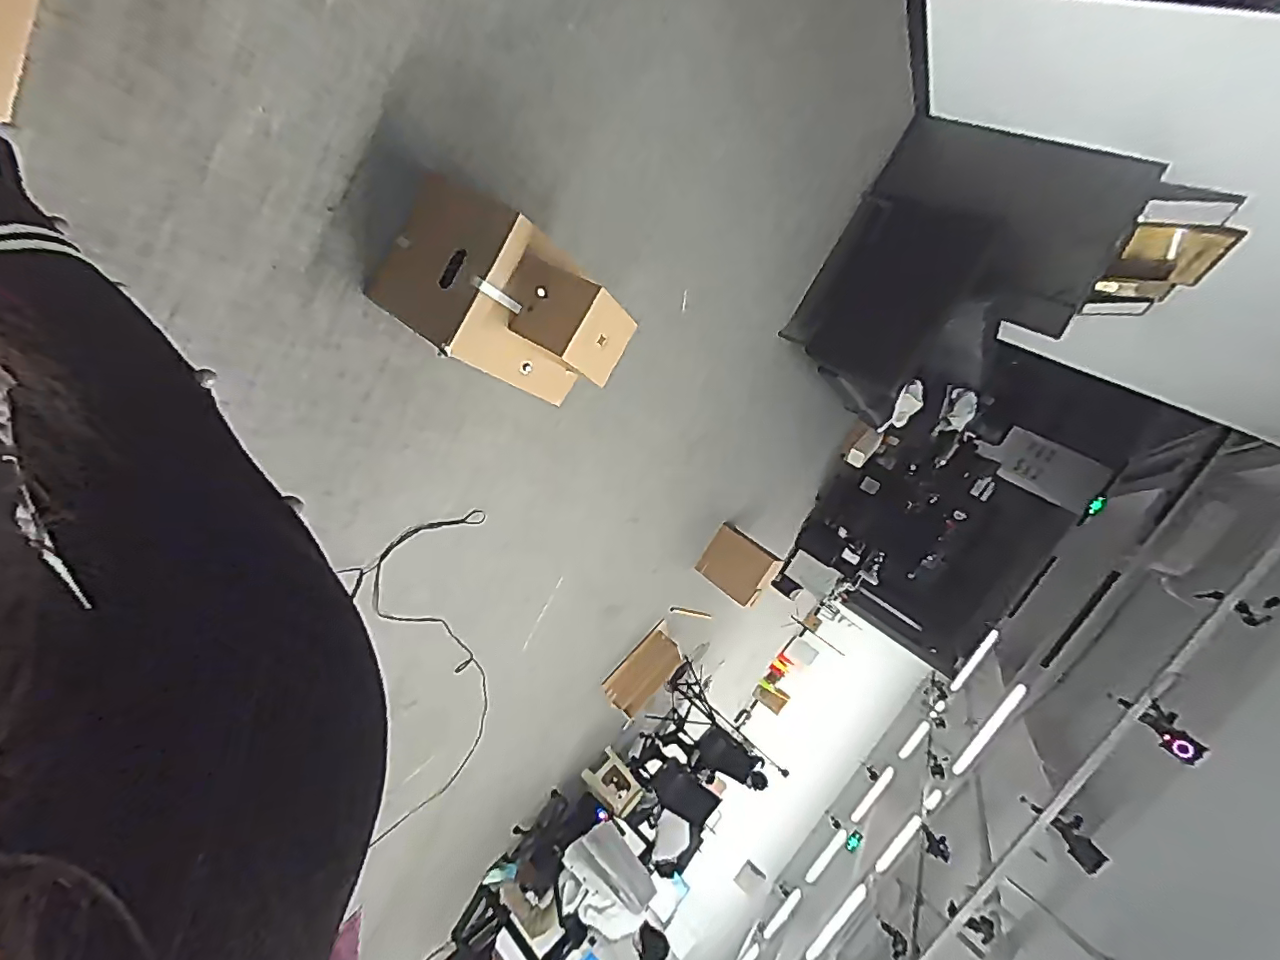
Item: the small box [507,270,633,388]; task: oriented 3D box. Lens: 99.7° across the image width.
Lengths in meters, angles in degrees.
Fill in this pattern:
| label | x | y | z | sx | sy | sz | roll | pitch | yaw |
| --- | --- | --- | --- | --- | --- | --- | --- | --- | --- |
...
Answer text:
| label | x | y | z | sx | sy | sz | roll | pitch | yaw |
| --- | --- | --- | --- | --- | --- | --- | --- | --- | --- |
| small box | -0.152 | -0.331 | 1.182 | 0.168 | 0.176 | 0.179 | -60 | 153 | 2 |
